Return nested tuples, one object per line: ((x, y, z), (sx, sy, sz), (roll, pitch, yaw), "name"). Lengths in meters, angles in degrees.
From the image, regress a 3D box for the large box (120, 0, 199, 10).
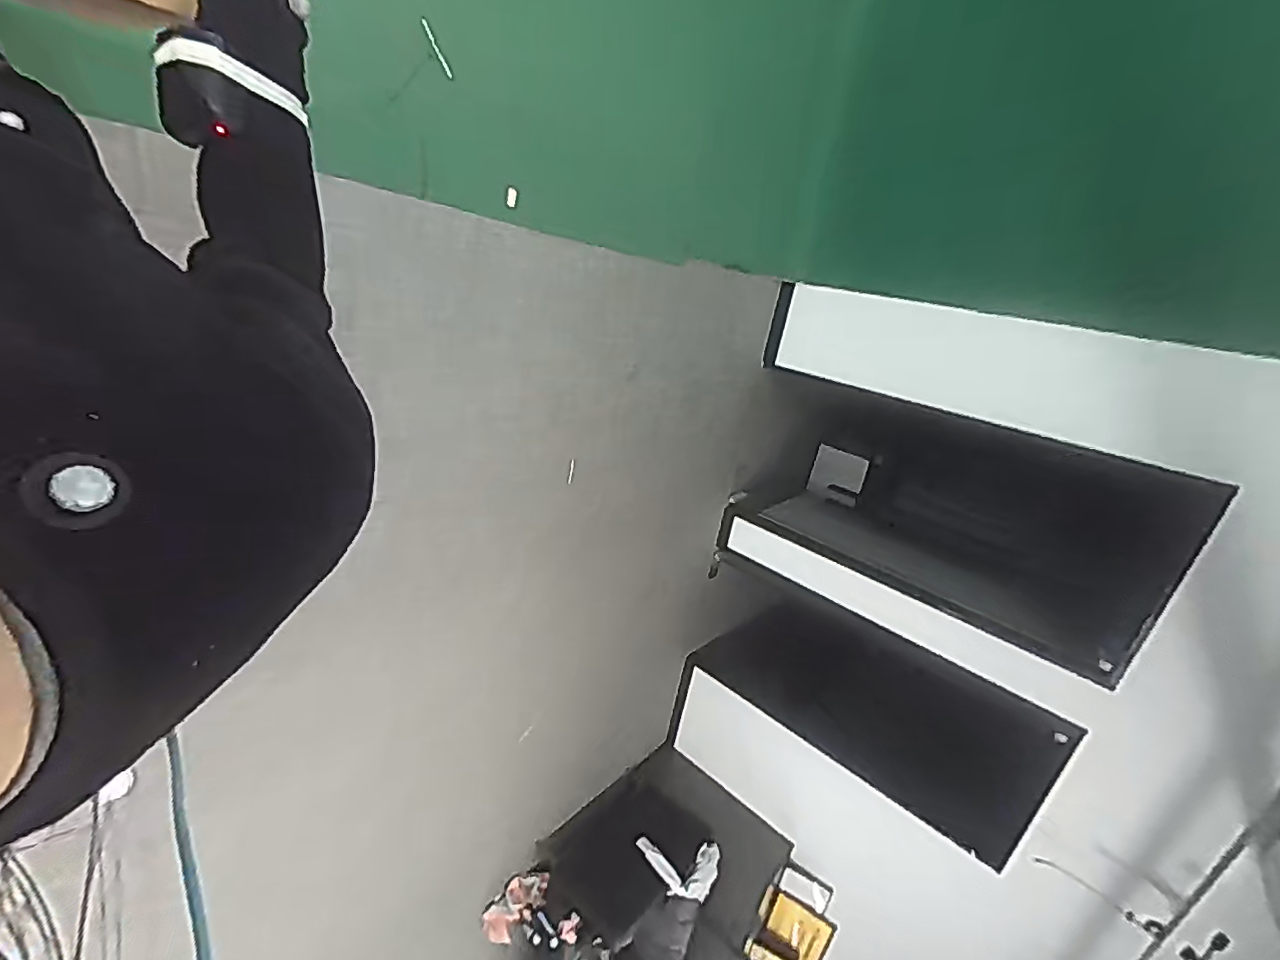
((-0.539, -0.517, 0.276), (0.408, 0.320, 0.320), (-19, 131, -51), "large box")
